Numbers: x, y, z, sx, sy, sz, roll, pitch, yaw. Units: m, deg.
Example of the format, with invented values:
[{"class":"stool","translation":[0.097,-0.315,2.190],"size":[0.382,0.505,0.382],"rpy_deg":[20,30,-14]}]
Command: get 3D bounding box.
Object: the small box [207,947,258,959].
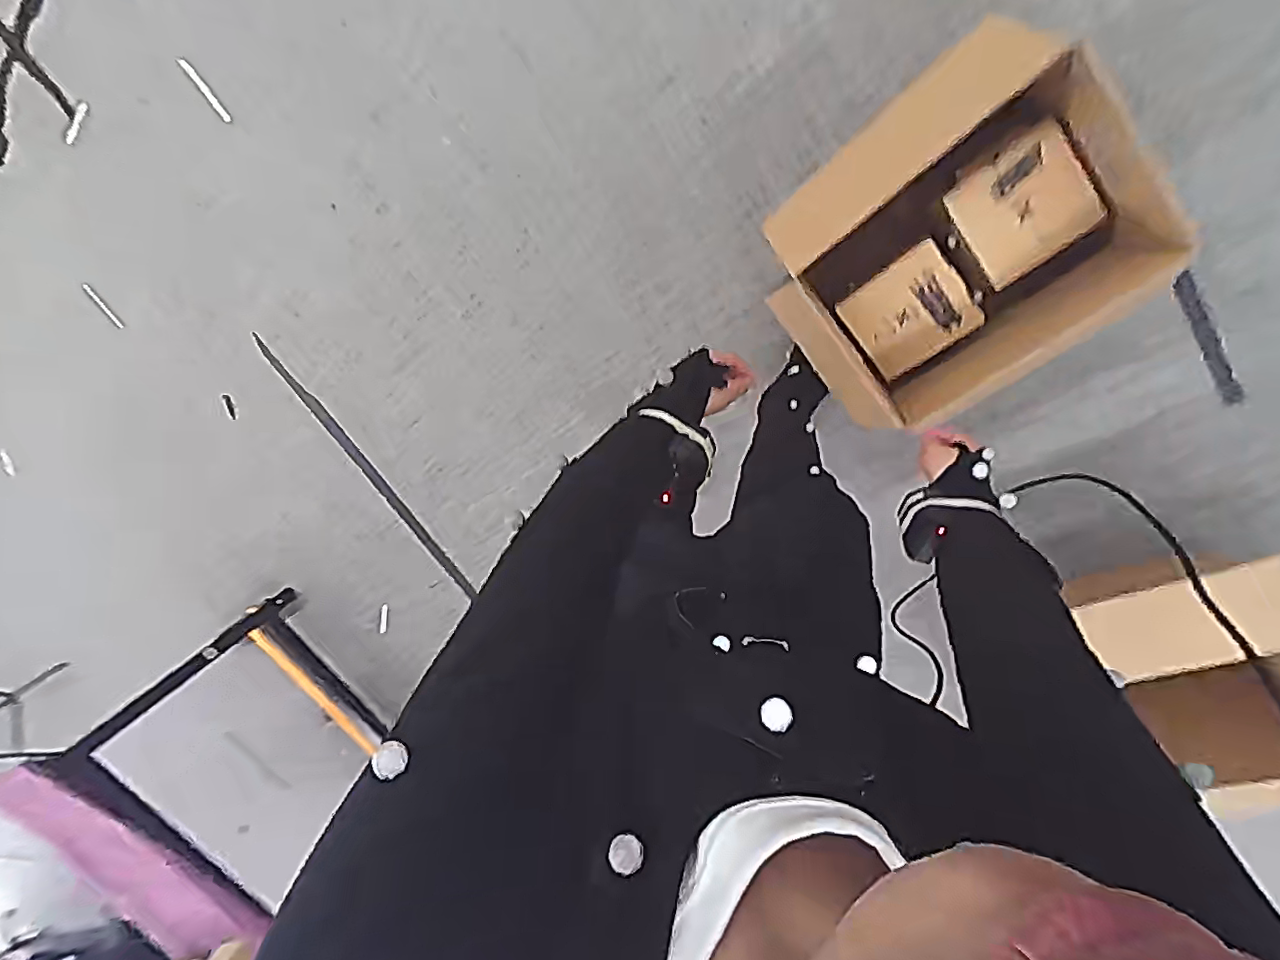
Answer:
[{"class":"small box","translation":[-1.158,1.439,1.501],"size":[0.168,0.176,0.179],"rpy_deg":[-31,103,27]}]
